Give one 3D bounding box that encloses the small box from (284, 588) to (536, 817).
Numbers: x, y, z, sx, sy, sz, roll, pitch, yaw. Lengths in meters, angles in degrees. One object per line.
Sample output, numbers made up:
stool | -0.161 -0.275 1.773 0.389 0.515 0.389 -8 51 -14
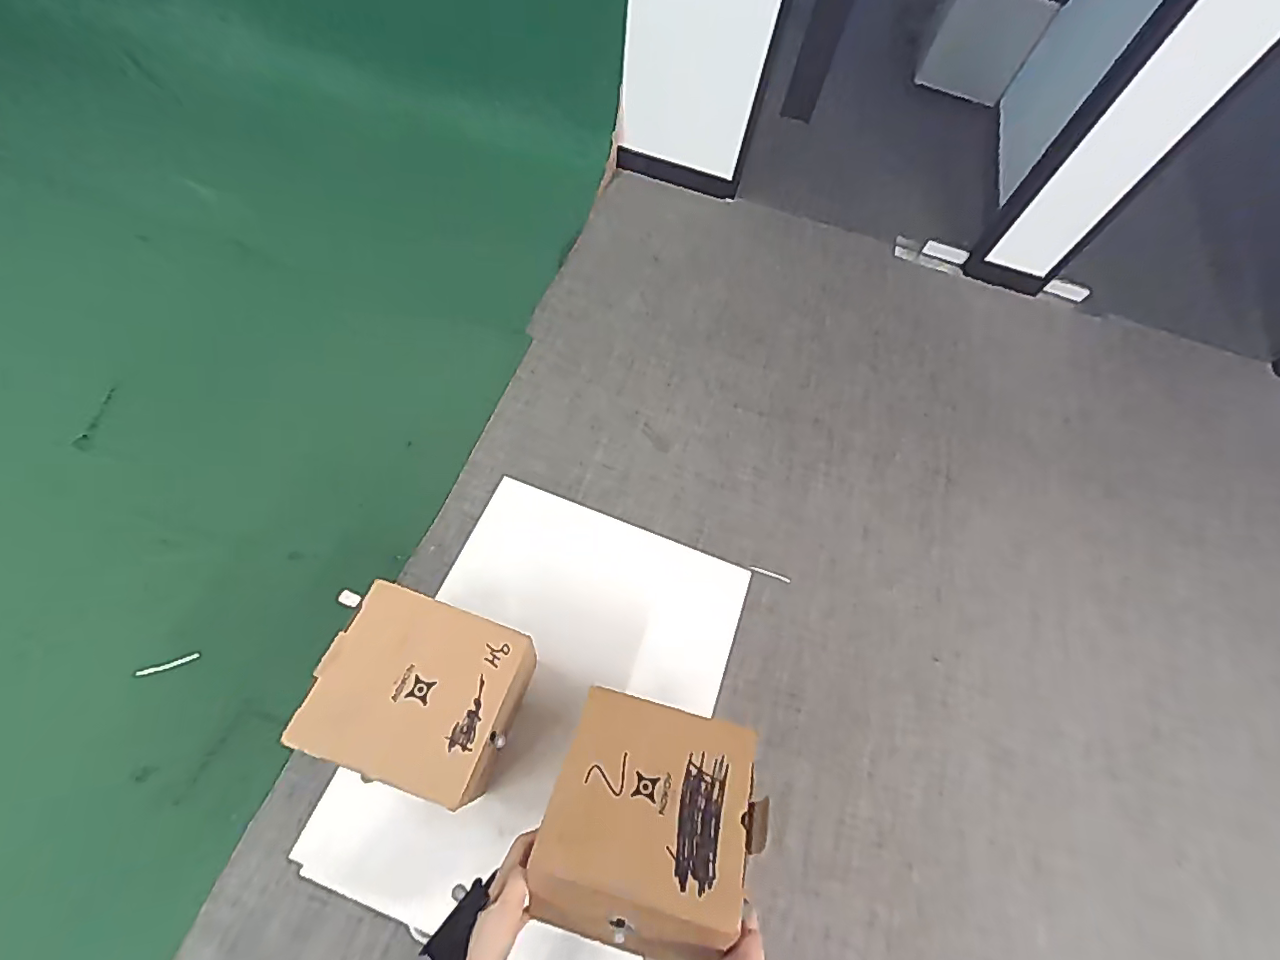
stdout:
small box | -0.227 0.243 0.592 0.179 0.176 0.168 20 62 3
